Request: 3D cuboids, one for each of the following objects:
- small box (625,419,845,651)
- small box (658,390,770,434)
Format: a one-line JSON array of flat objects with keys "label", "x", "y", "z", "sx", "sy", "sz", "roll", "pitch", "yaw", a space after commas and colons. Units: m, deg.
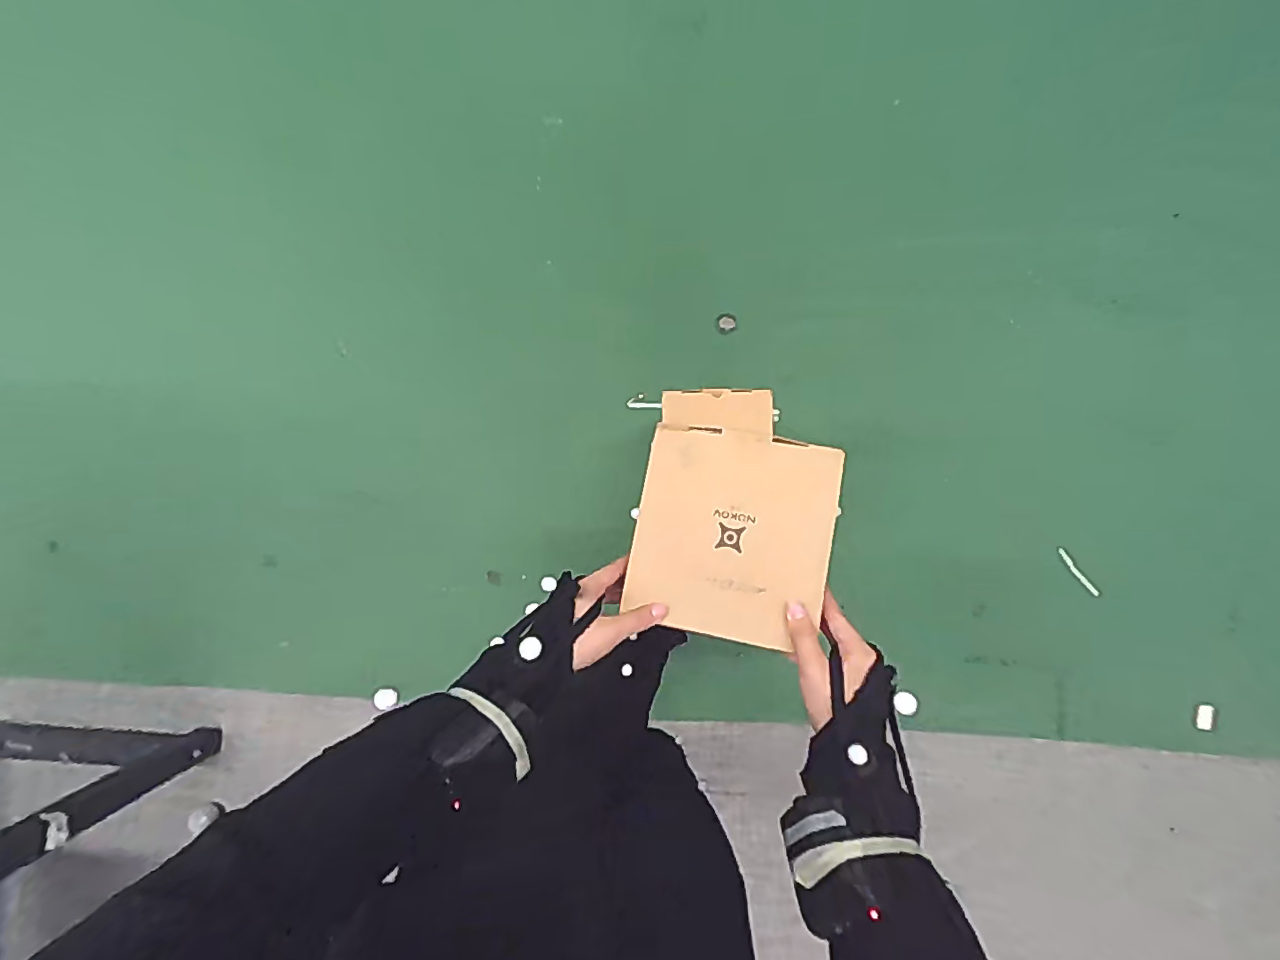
[{"label": "small box", "x": 0.094, "y": 0.054, "z": 0.538, "sx": 0.168, "sy": 0.176, "sz": 0.179, "roll": 8, "pitch": 83, "yaw": 12}, {"label": "small box", "x": 0.114, "y": -0.046, "z": 0.879, "sx": 0.168, "sy": 0.176, "sz": 0.179, "roll": 0, "pitch": 90, "yaw": 3}]
